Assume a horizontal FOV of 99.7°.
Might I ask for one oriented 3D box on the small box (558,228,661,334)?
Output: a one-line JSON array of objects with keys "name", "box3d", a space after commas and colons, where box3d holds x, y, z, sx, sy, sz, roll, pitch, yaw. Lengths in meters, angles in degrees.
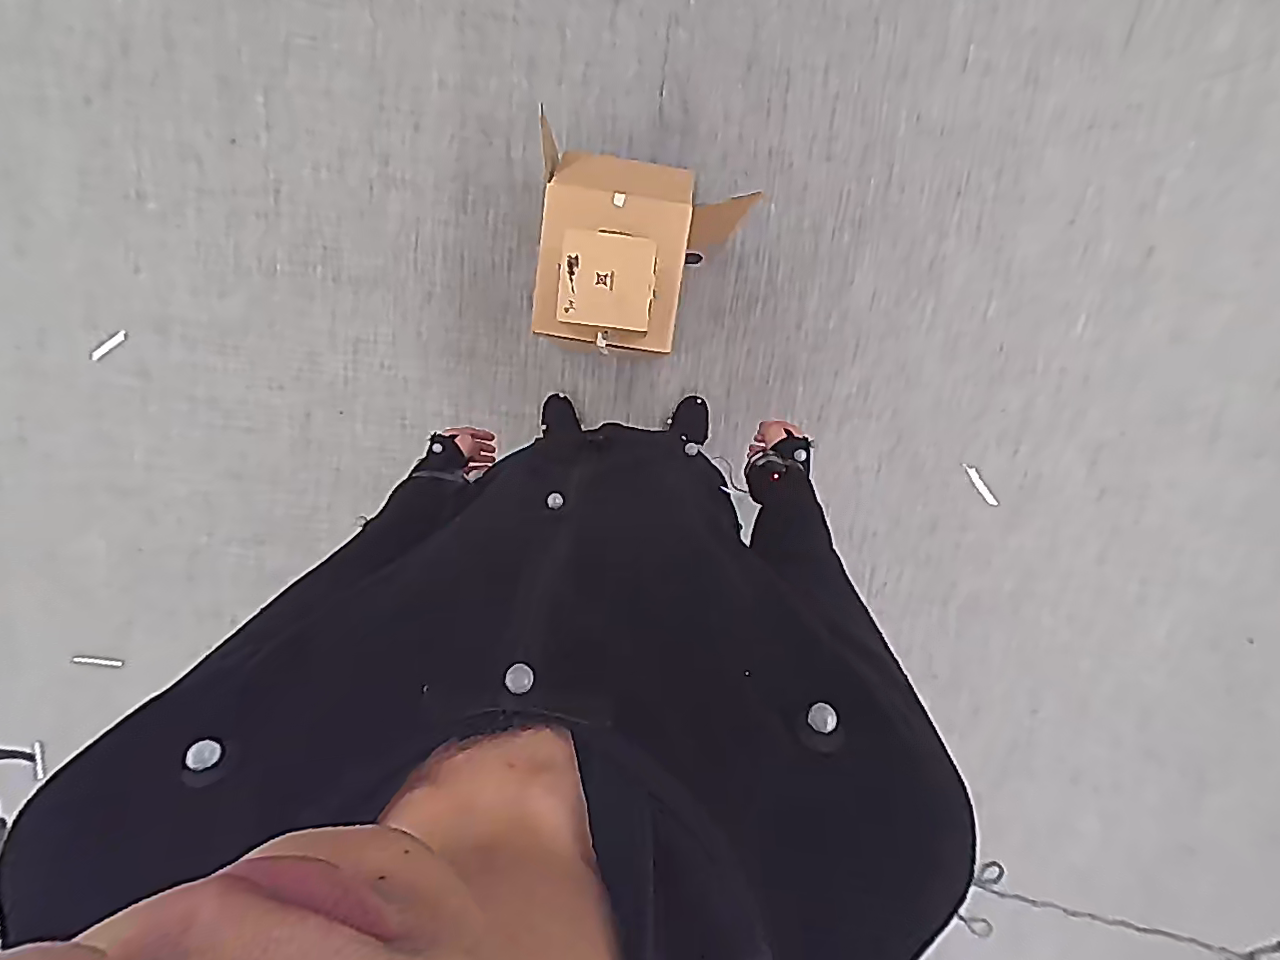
[{"name": "small box", "box3d": [-0.059, -0.390, 1.088, 0.179, 0.176, 0.168, 7, 102, -2]}]
